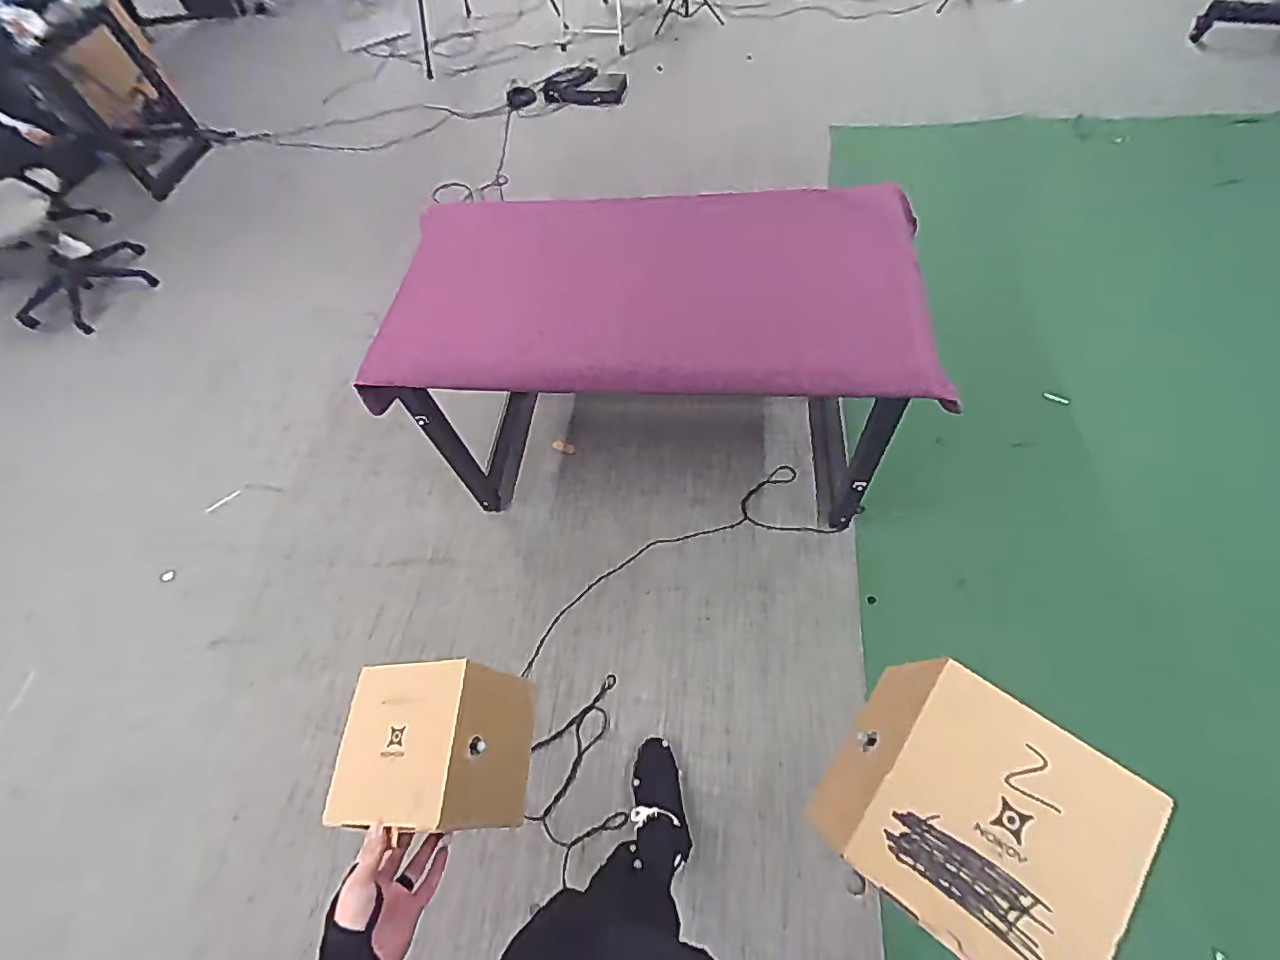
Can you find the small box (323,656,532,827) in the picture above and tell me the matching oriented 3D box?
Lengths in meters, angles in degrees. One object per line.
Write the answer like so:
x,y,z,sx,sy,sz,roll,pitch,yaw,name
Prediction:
-0.255,0.335,0.694,0.168,0.176,0.179,-10,57,19,small box
